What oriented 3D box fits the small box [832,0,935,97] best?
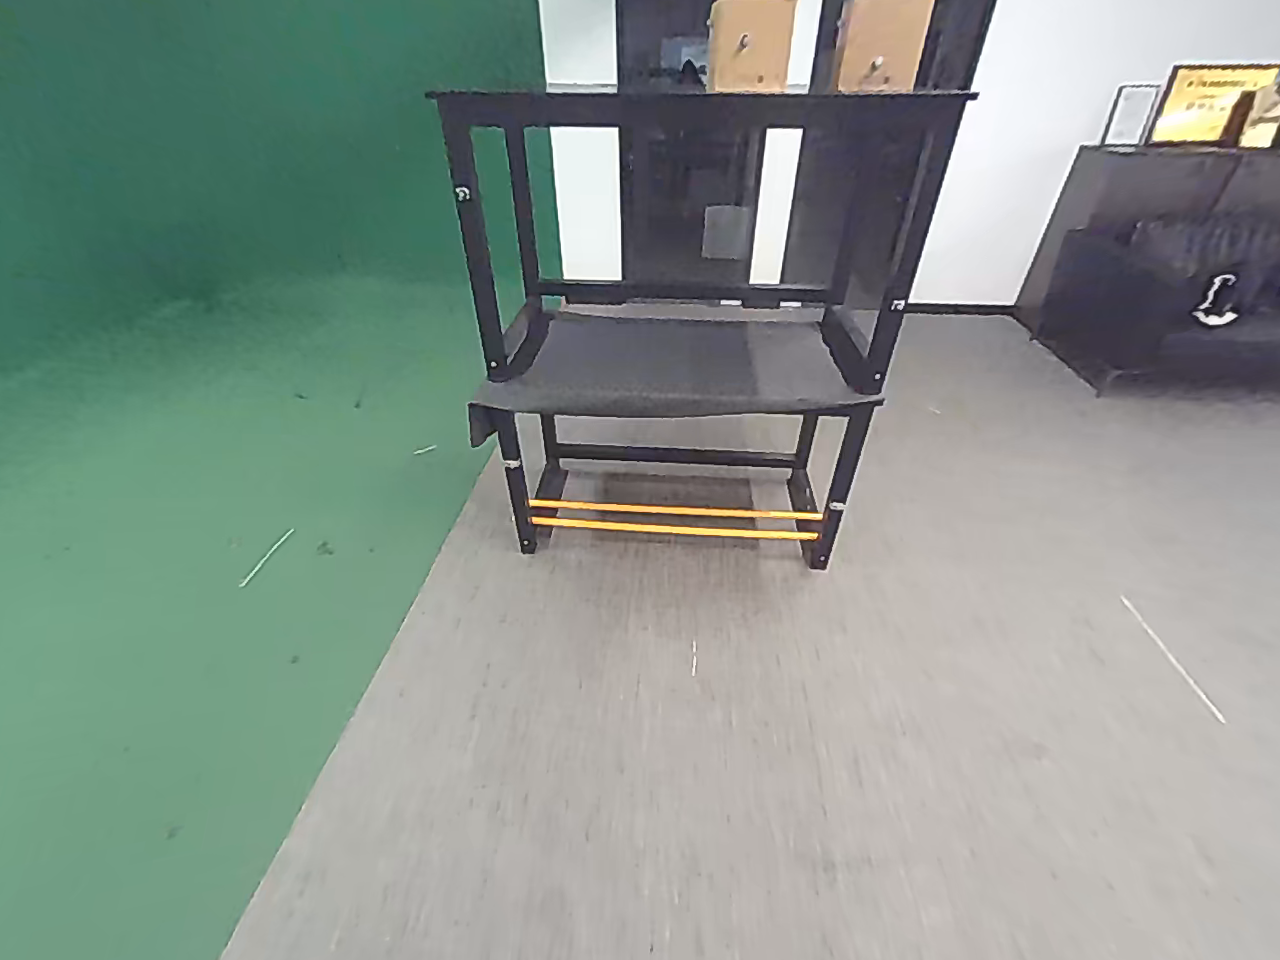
[{"bbox_3d":[0.549,-0.992,1.246,0.168,0.176,0.179,5,38,8],"label":"small box"}]

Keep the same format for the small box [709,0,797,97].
[{"bbox_3d":[0.255,-0.999,1.261,0.168,0.176,0.179,0,37,-1],"label":"small box"}]
